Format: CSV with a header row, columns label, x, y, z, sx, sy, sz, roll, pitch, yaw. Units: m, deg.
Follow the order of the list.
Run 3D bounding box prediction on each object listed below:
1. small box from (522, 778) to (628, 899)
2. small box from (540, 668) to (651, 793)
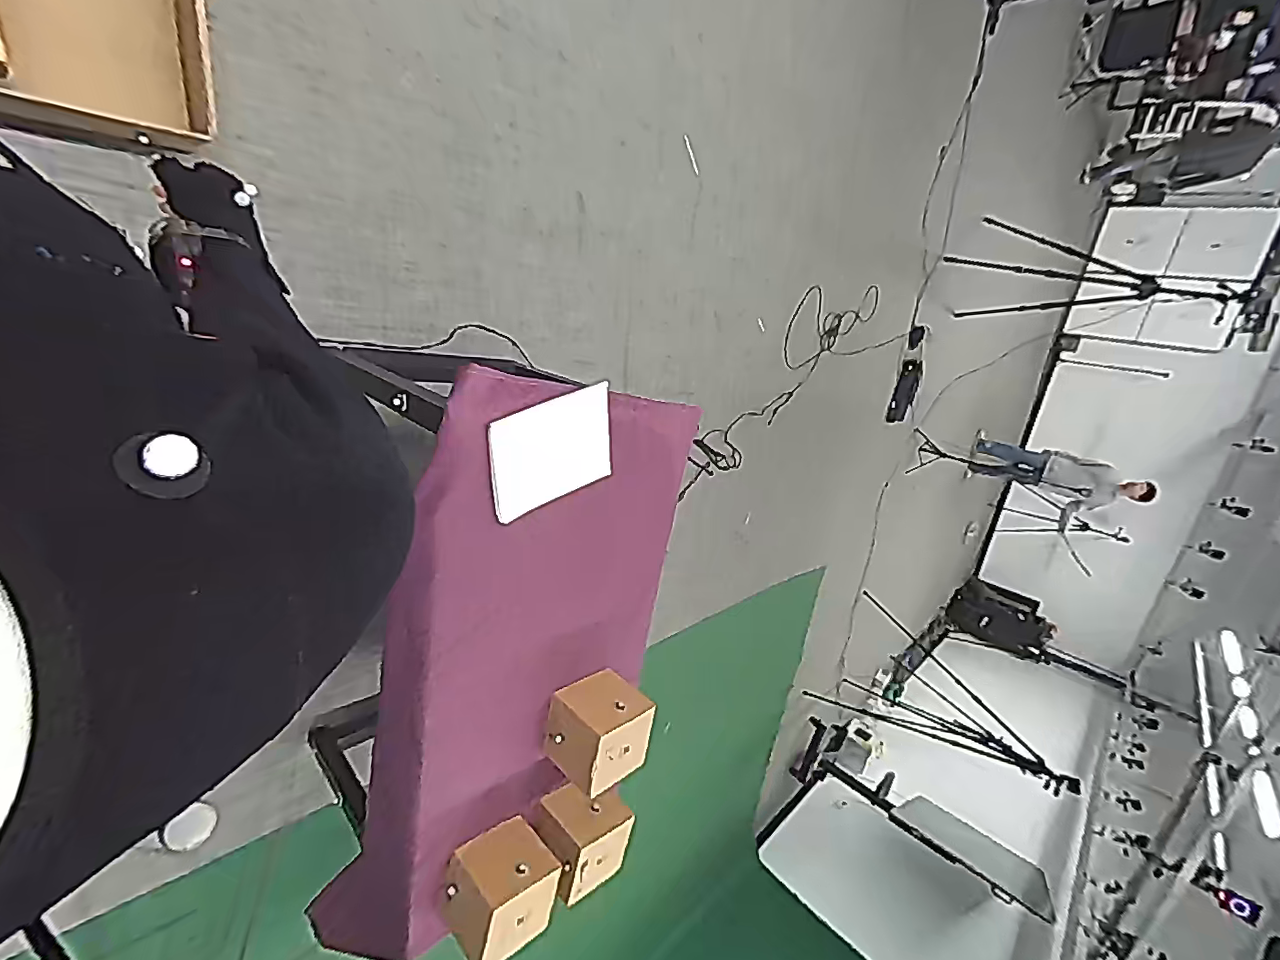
label,x,y,z,sx,sy,sz,roll,pitch,yaw
small box,-0.161,0.861,1.337,0.179,0.176,0.168,0,108,-49
small box,-0.105,0.566,1.252,0.179,0.176,0.168,-6,113,-46
